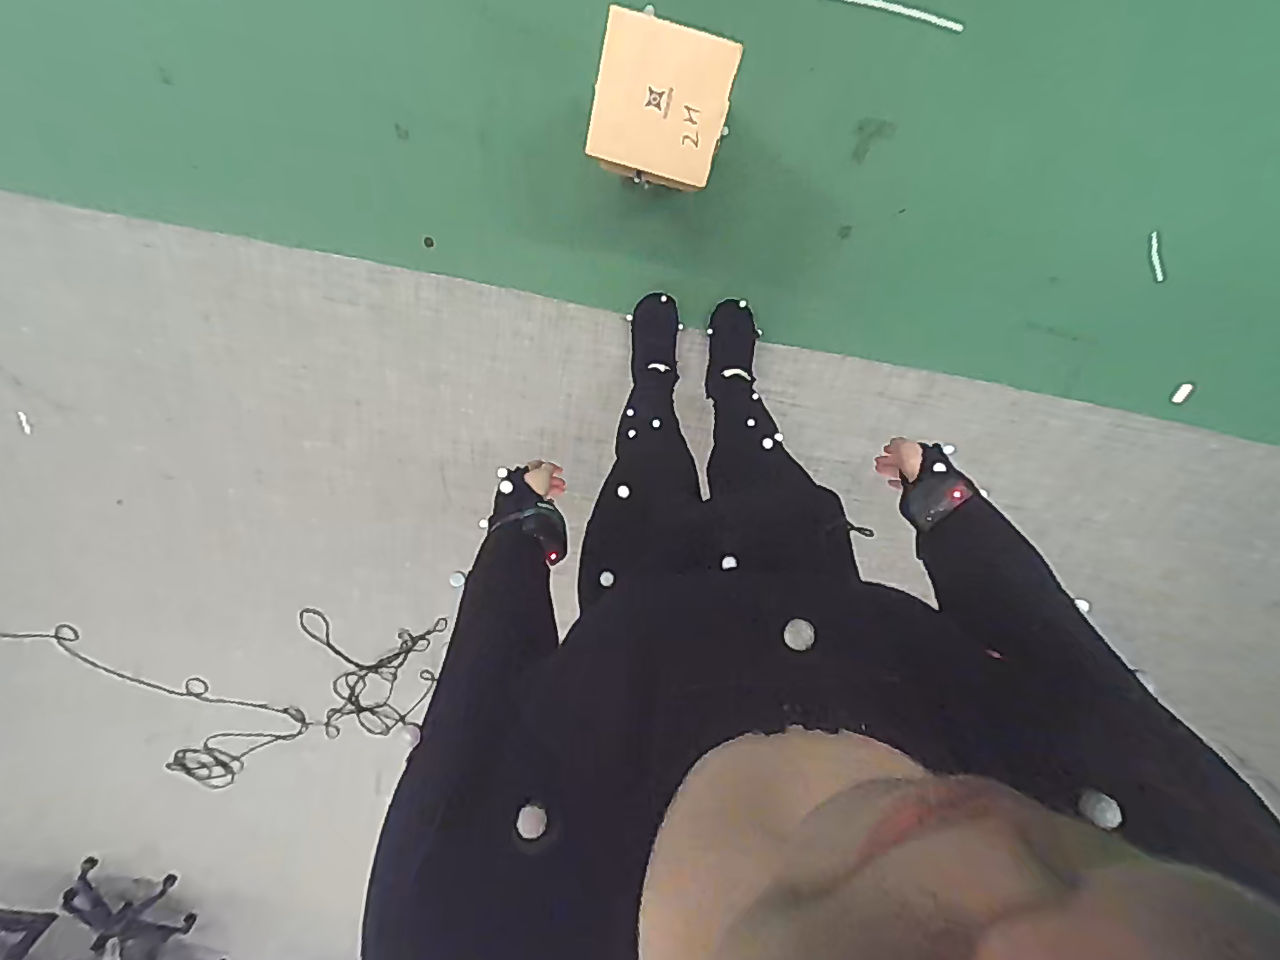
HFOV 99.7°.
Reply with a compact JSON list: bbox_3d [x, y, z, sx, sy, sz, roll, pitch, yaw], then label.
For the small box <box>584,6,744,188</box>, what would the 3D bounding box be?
[{"bbox_3d":[0.031,-0.529,0.774,0.179,0.176,0.168,14,119,-4],"label":"small box"}]
